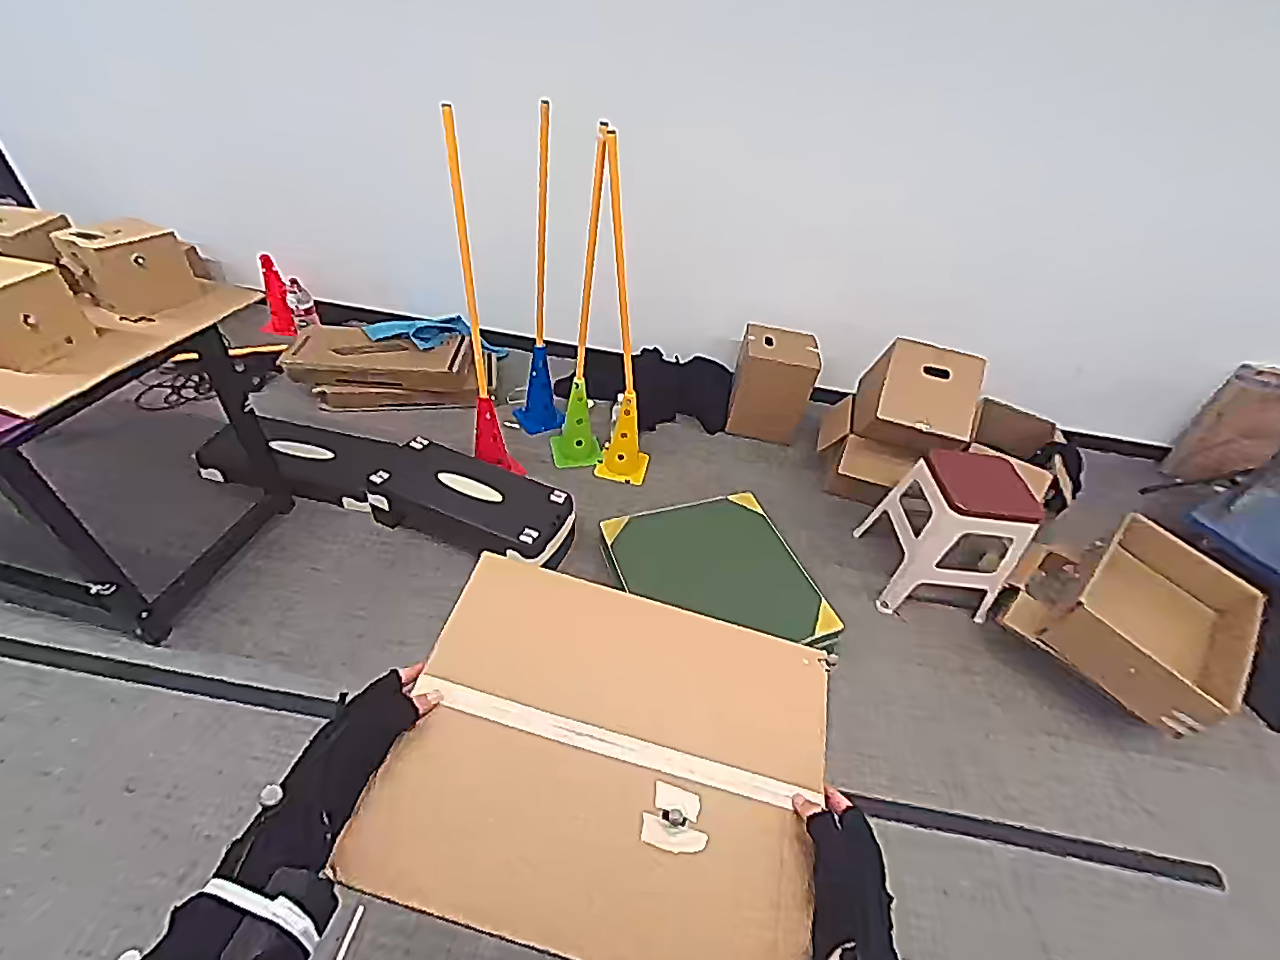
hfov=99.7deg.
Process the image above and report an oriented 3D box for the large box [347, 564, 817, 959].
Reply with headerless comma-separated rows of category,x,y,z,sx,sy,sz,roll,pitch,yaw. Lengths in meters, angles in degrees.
large box,-0.044,0.352,0.650,0.408,0.320,0.320,16,52,2
